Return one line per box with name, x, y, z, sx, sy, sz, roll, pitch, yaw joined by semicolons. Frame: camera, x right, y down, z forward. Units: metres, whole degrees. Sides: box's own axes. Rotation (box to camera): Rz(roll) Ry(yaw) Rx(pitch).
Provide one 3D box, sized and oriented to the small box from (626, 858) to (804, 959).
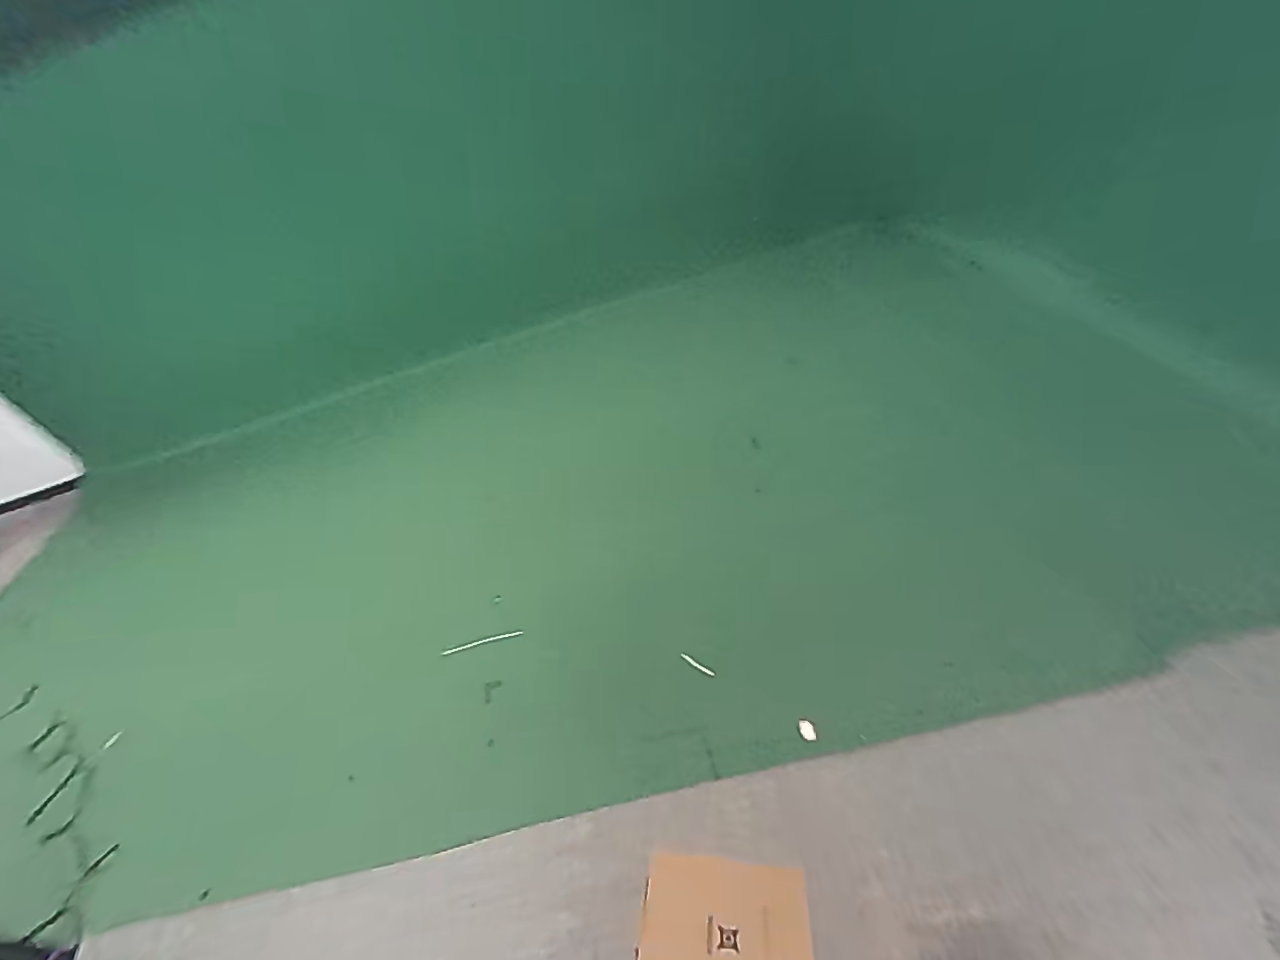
small box;0.078;0.546;0.567;0.179;0.176;0.168;2;17;9
